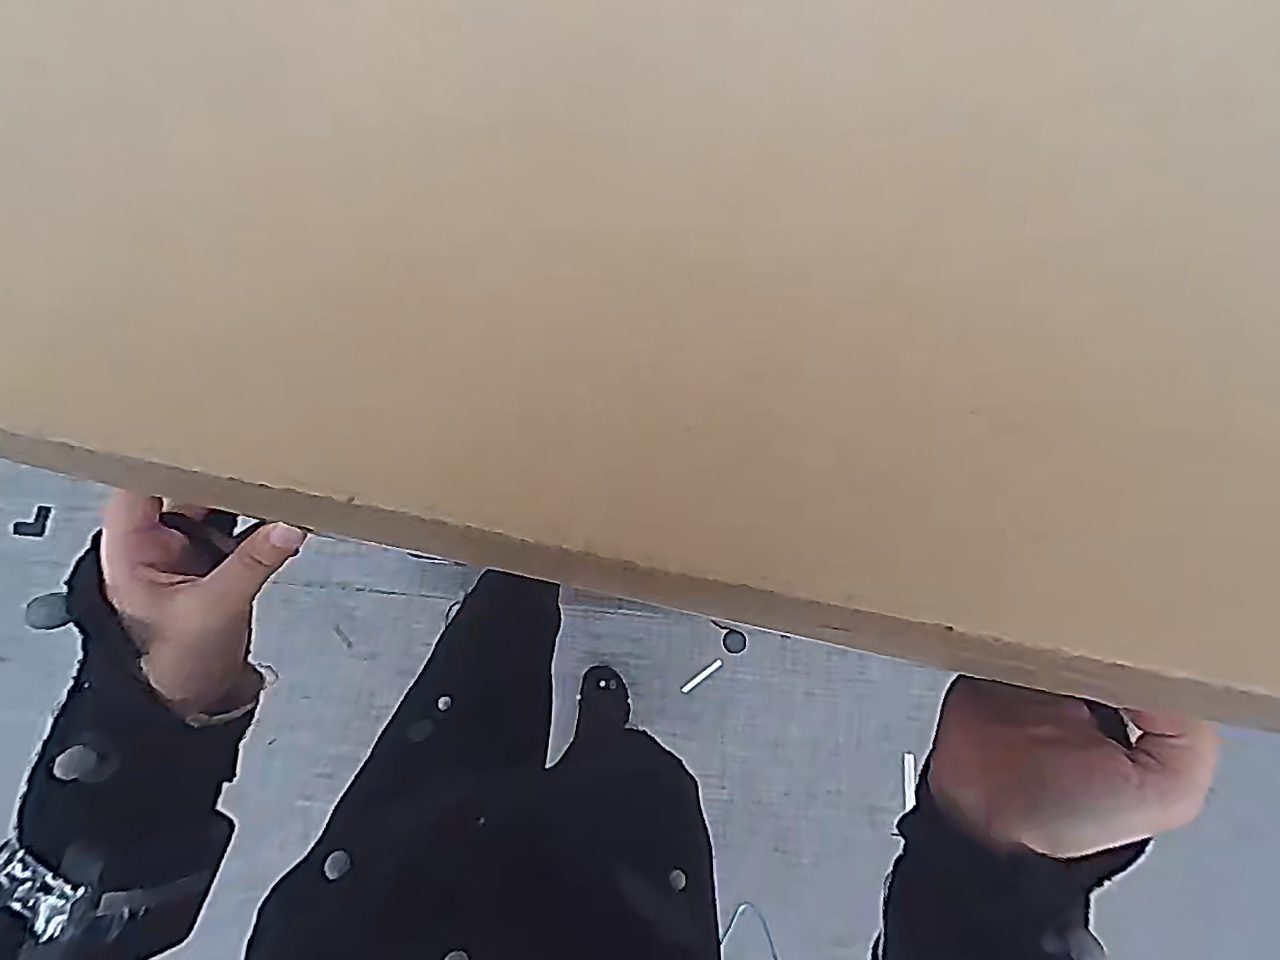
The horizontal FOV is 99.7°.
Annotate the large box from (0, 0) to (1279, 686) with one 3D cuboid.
[{"bbox_3d":[0.005,-0.105,0.290,0.408,0.320,0.320,10,78,4],"label":"large box"}]
